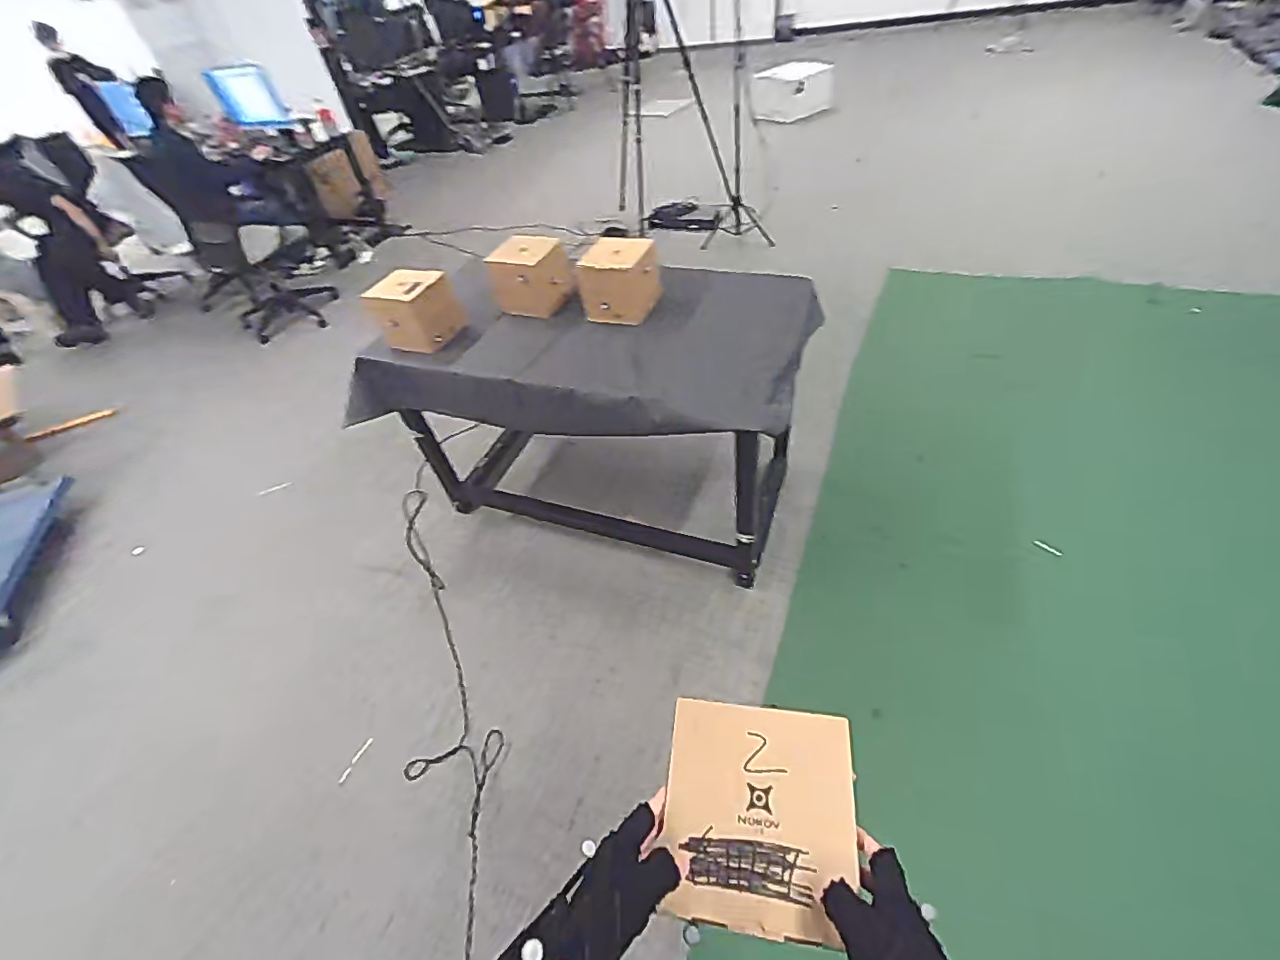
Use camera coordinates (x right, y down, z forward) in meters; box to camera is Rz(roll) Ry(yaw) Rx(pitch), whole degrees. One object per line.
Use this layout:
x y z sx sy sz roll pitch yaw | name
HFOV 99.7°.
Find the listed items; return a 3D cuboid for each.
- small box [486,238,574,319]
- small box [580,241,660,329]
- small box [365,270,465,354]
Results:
-0.320 -0.599 1.616 0.179 0.176 0.168 14 51 22 | small box
-0.048 -0.551 1.527 0.168 0.176 0.179 12 50 21 | small box
-0.641 -0.484 1.563 0.179 0.176 0.168 12 49 21 | small box
